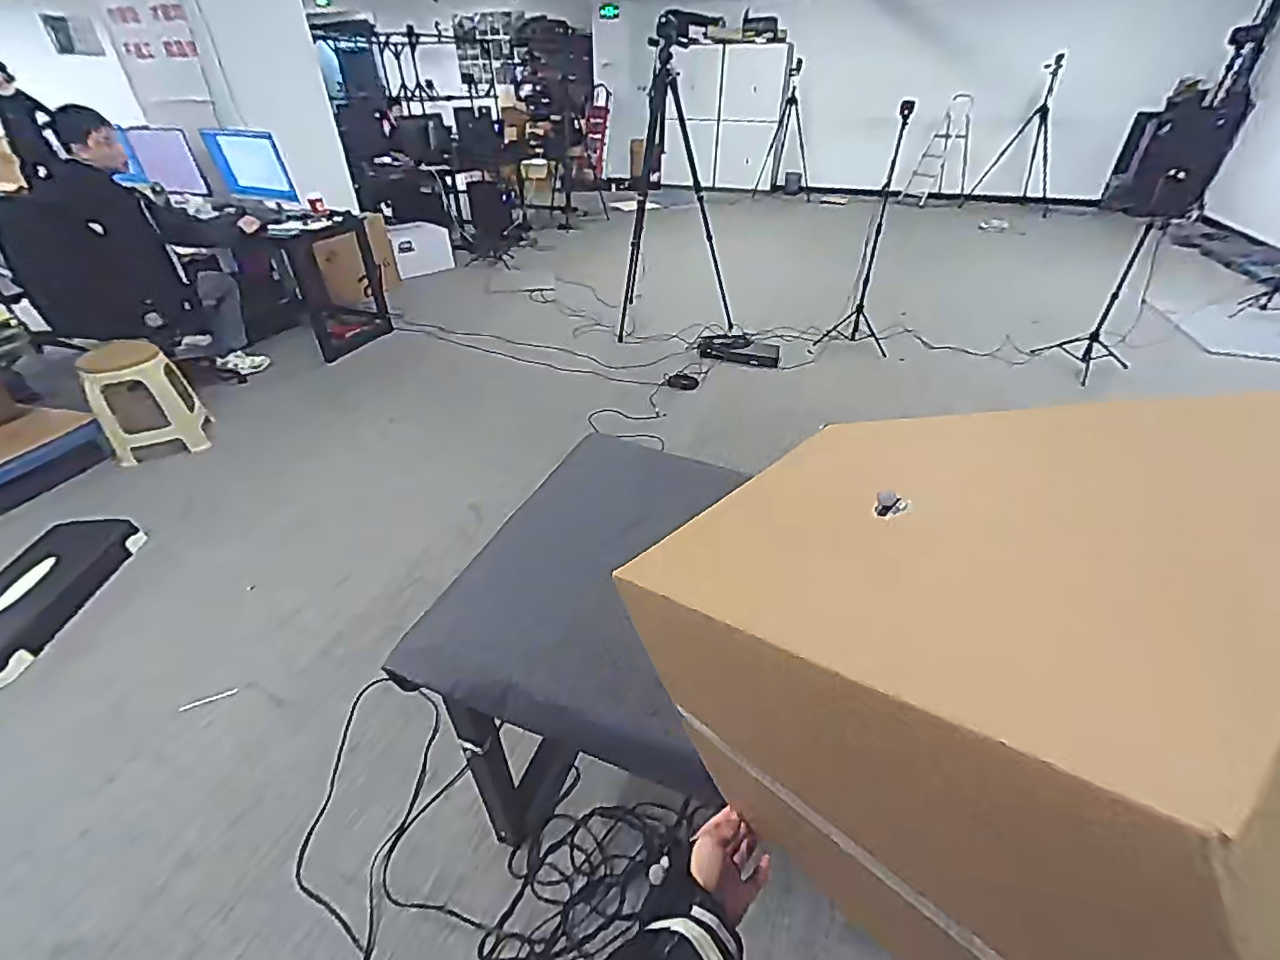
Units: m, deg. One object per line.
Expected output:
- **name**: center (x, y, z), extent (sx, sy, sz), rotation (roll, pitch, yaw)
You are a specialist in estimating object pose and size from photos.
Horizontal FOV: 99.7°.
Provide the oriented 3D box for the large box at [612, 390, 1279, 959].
- **large box**: center (0.243, 0.150, 0.422), extent (0.320, 0.320, 0.408), rotation (-32, 17, -24)
